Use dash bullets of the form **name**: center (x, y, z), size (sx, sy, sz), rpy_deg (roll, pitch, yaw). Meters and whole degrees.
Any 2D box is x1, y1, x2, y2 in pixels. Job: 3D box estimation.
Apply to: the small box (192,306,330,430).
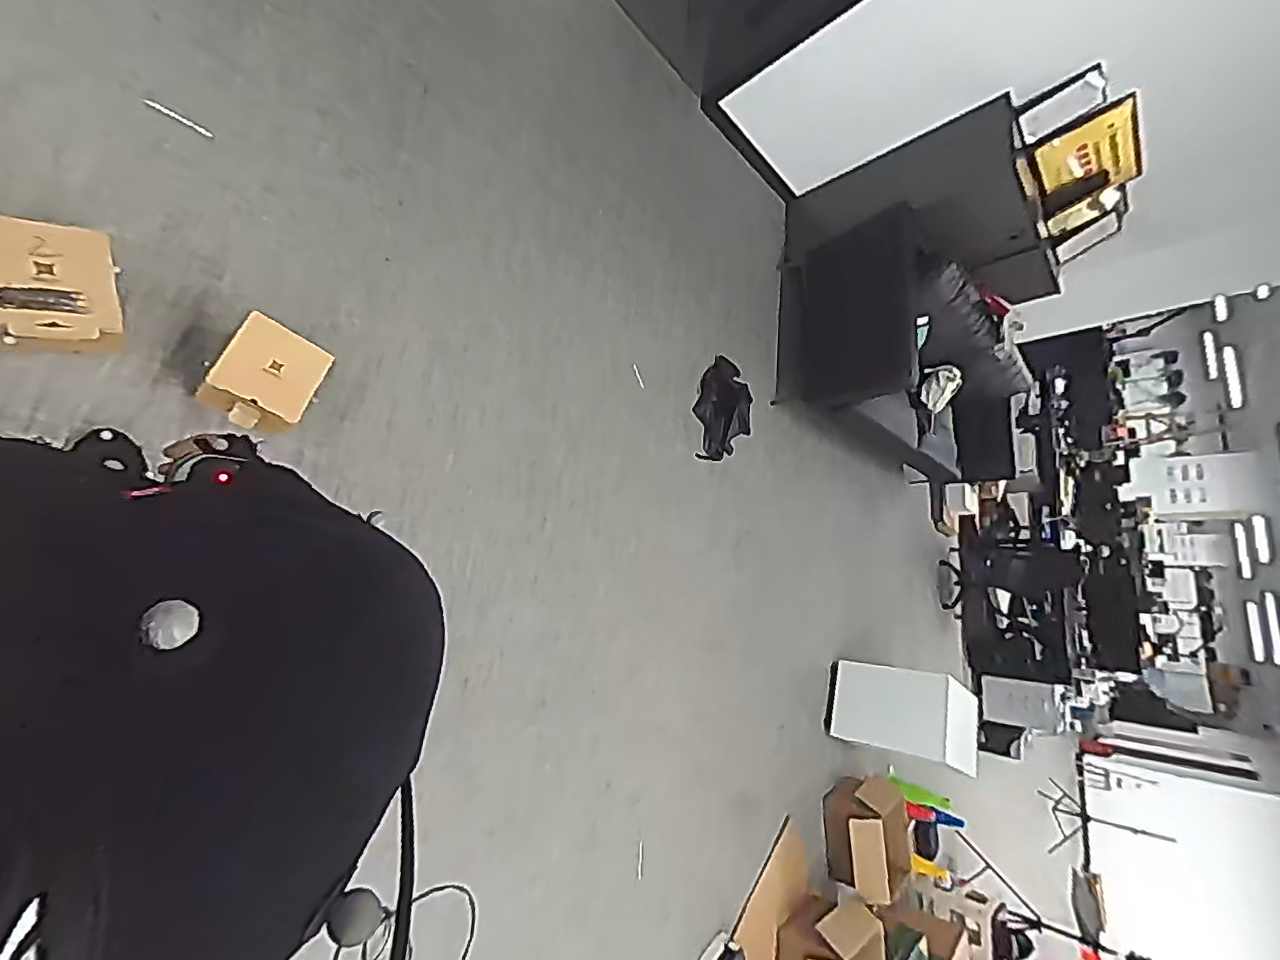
- **small box**: center (-0.796, -0.225, 1.133), size (0.168, 0.176, 0.179), rpy_deg (35, 61, -39)
